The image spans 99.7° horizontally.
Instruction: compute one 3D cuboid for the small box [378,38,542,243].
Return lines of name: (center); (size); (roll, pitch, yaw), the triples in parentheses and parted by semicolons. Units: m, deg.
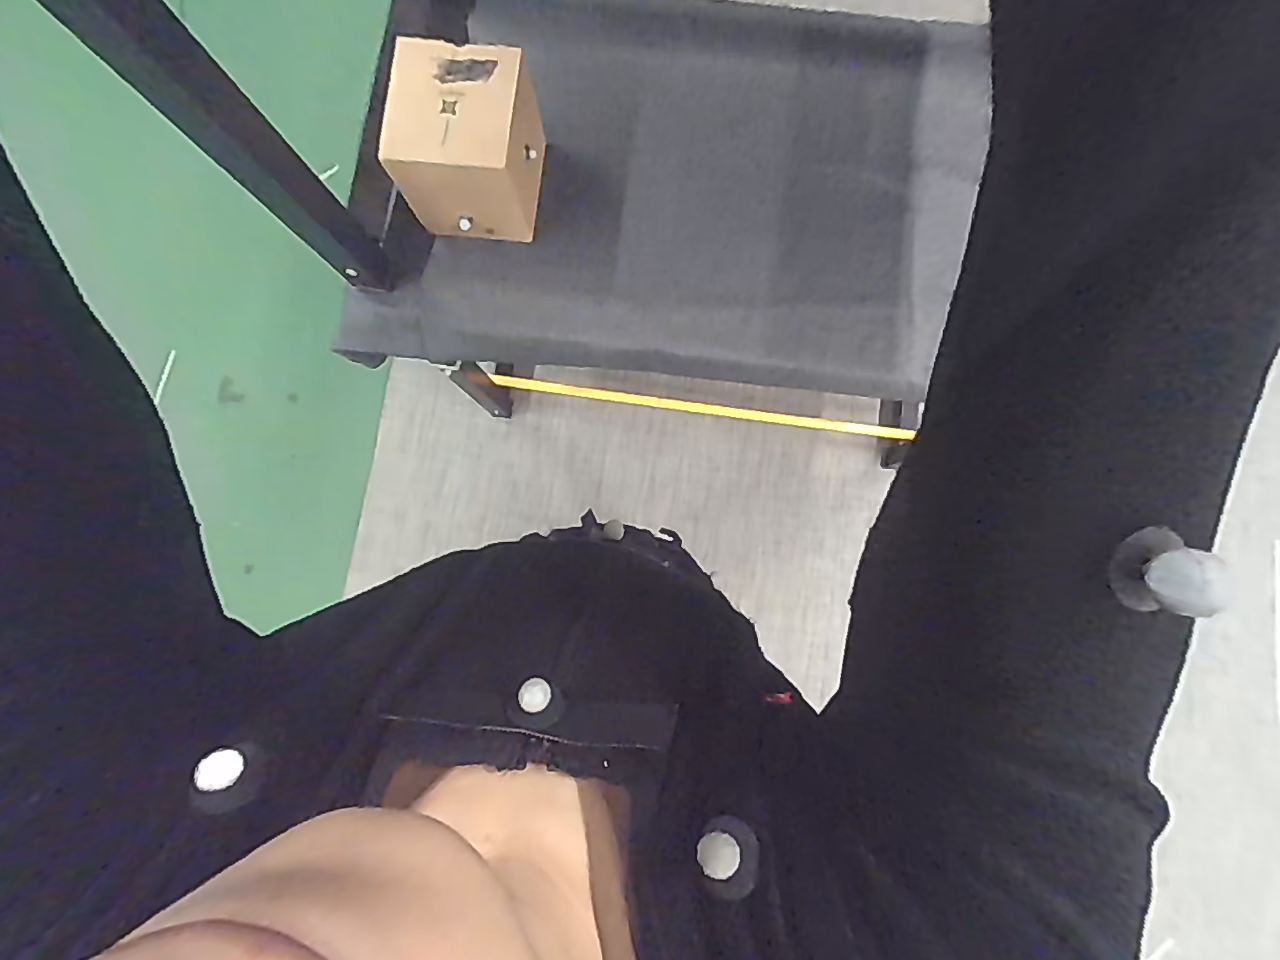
small box: (-0.240, -0.469, 0.766); (0.168, 0.176, 0.179); (5, 83, 1)
